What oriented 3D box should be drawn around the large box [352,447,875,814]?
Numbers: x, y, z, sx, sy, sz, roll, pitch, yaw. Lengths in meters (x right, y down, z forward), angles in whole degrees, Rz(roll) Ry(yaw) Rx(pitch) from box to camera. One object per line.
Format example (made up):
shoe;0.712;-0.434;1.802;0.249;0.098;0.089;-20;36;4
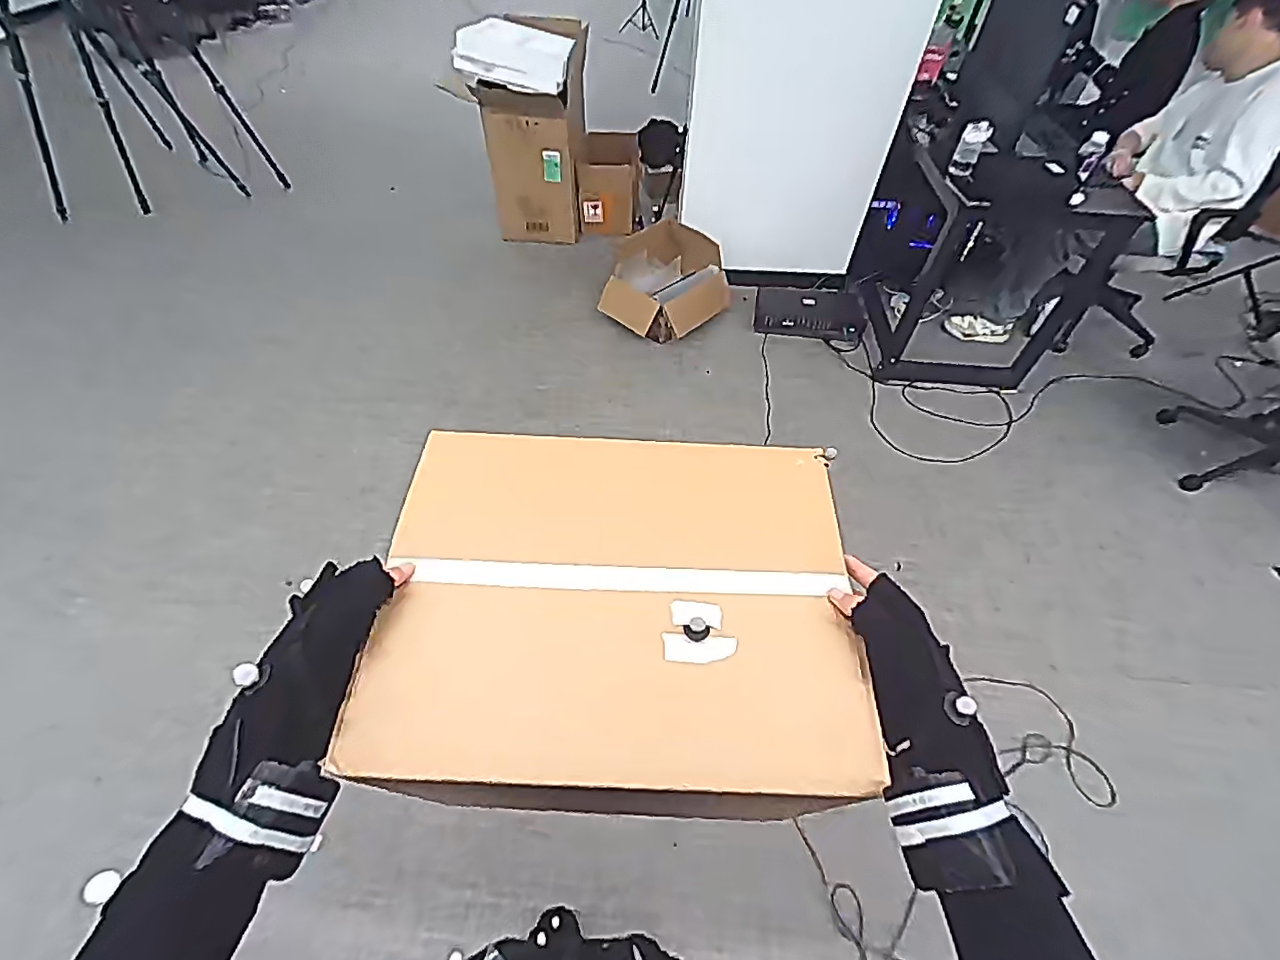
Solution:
large box;-0.022;0.182;0.610;0.408;0.320;0.320;3;55;-1
